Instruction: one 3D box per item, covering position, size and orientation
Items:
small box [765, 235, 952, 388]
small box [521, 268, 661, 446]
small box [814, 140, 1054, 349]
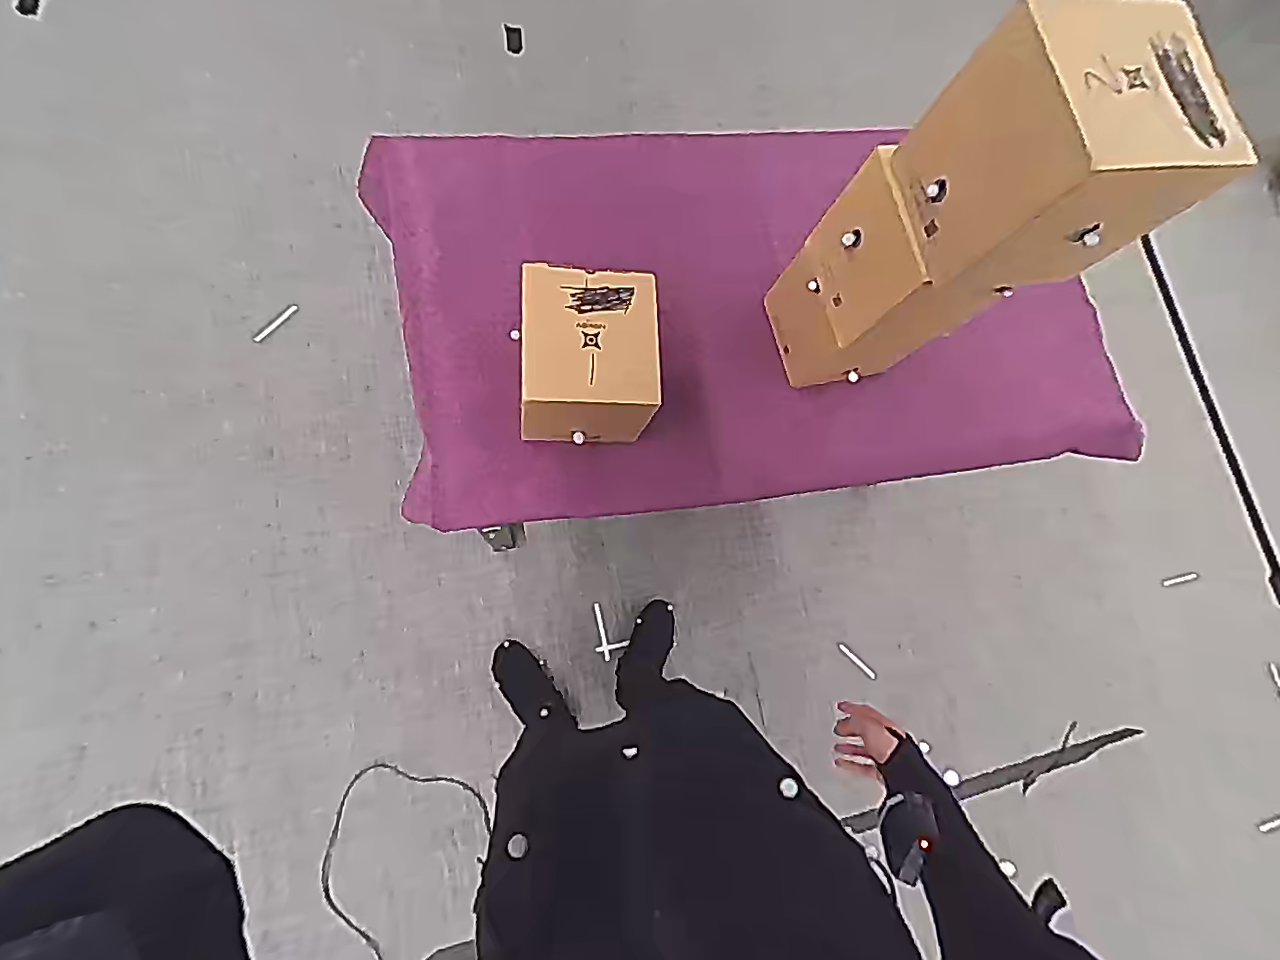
[{"bbox_3d":[0.320,-0.255,0.822,0.179,0.176,0.168,-12,80,-14],"label":"small box"},{"bbox_3d":[-0.073,-0.153,0.720,0.168,0.176,0.179,0,79,-12],"label":"small box"},{"bbox_3d":[0.336,-0.275,0.660,0.179,0.176,0.168,-12,80,-14],"label":"small box"}]
